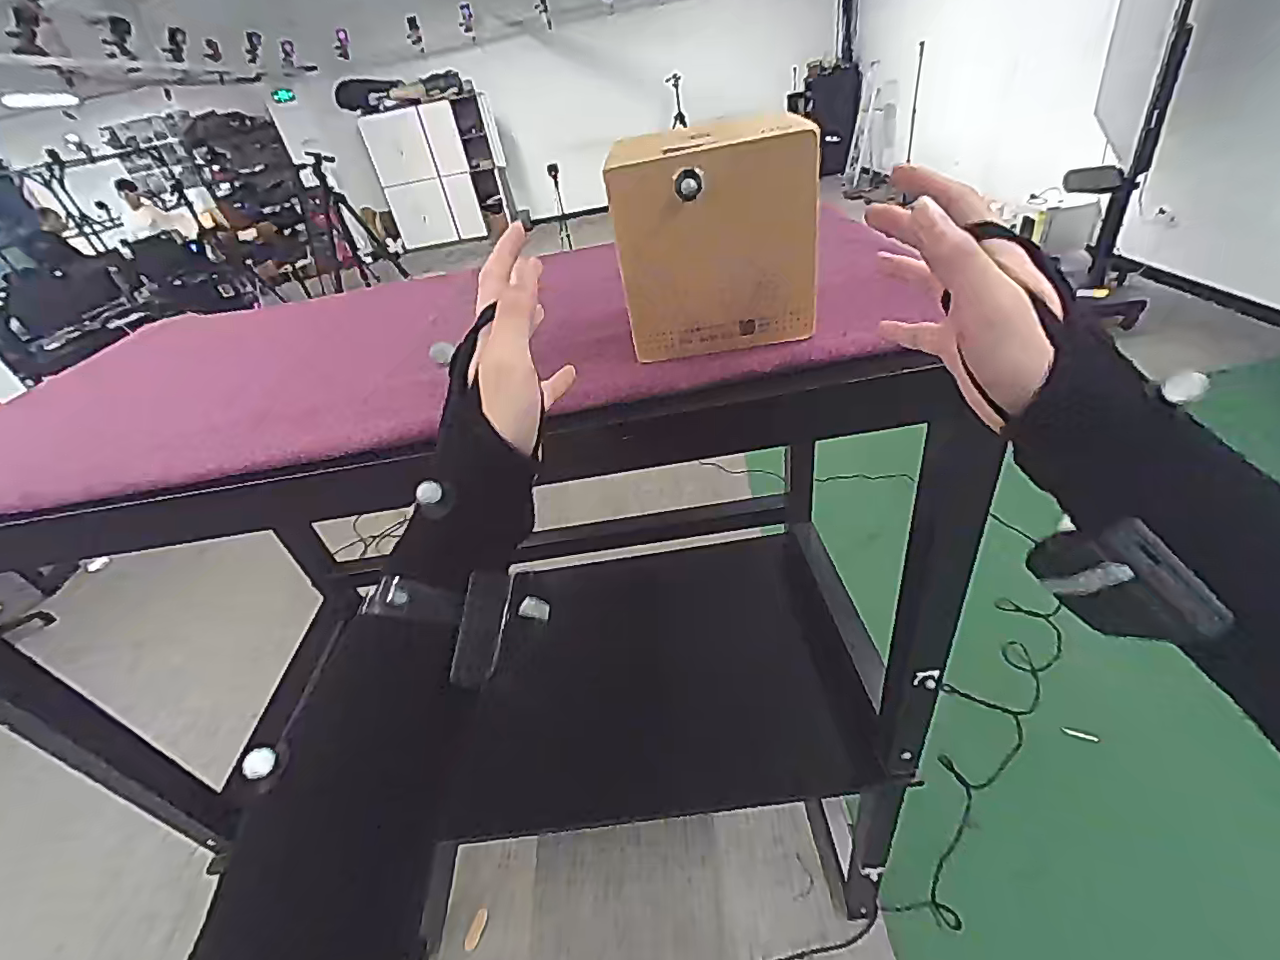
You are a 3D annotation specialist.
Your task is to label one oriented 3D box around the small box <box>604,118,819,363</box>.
[{"bbox_3d":[0.069,-0.230,0.521,0.168,0.176,0.179,-8,36,8],"label":"small box"}]
